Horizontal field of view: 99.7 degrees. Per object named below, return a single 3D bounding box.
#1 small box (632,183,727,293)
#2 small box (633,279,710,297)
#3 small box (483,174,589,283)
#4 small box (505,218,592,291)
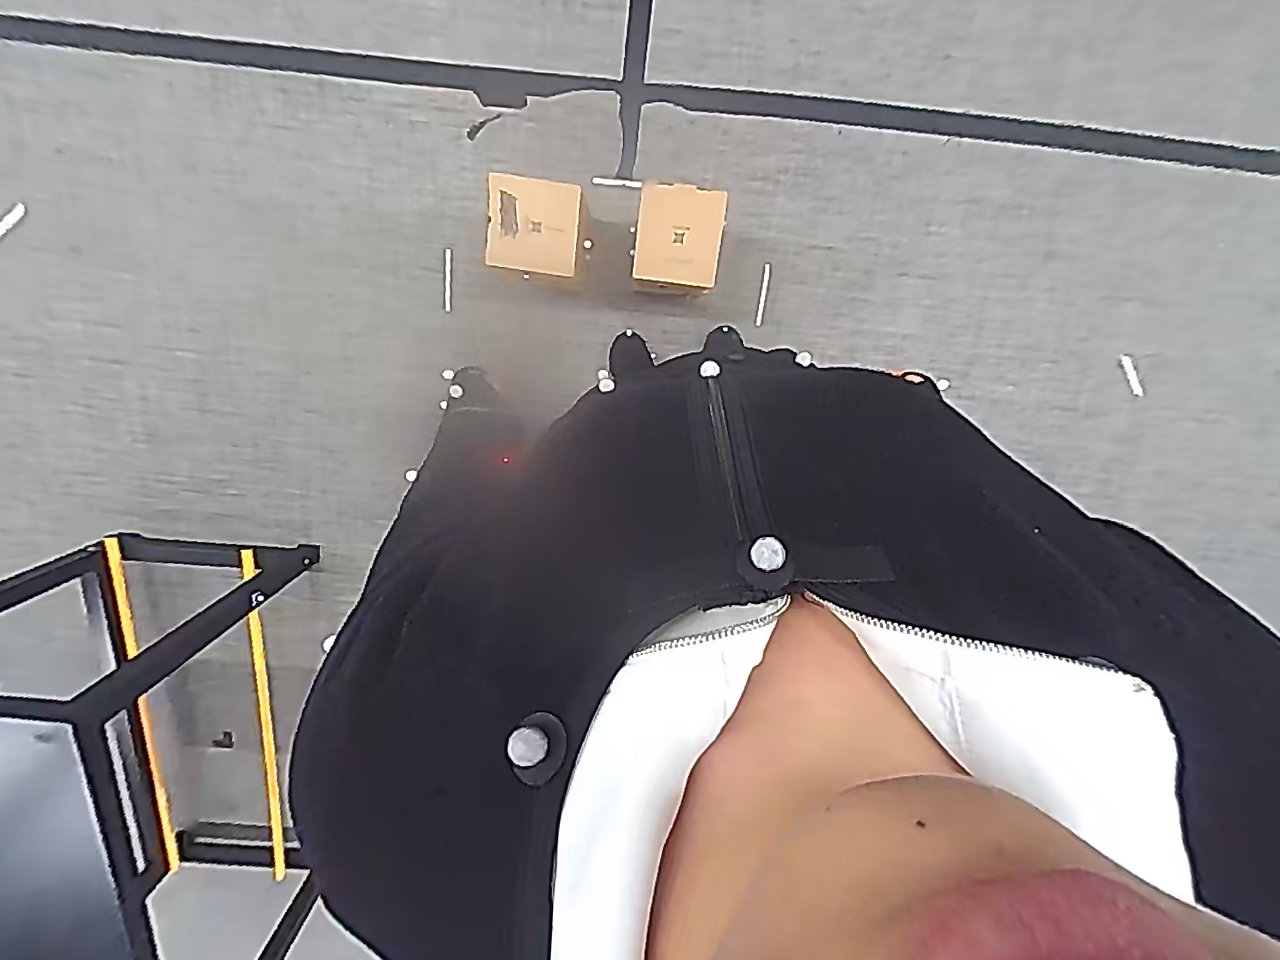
[{"bbox_3d":[0.074,-0.489,1.112,0.168,0.176,0.179,7,108,-1],"label":"small box"},{"bbox_3d":[0.076,-0.525,1.272,0.179,0.176,0.168,4,107,-2],"label":"small box"},{"bbox_3d":[-0.207,-0.503,1.104,0.179,0.176,0.168,7,107,-3],"label":"small box"},{"bbox_3d":[-0.209,-0.544,1.264,0.168,0.176,0.179,8,107,-2],"label":"small box"}]
